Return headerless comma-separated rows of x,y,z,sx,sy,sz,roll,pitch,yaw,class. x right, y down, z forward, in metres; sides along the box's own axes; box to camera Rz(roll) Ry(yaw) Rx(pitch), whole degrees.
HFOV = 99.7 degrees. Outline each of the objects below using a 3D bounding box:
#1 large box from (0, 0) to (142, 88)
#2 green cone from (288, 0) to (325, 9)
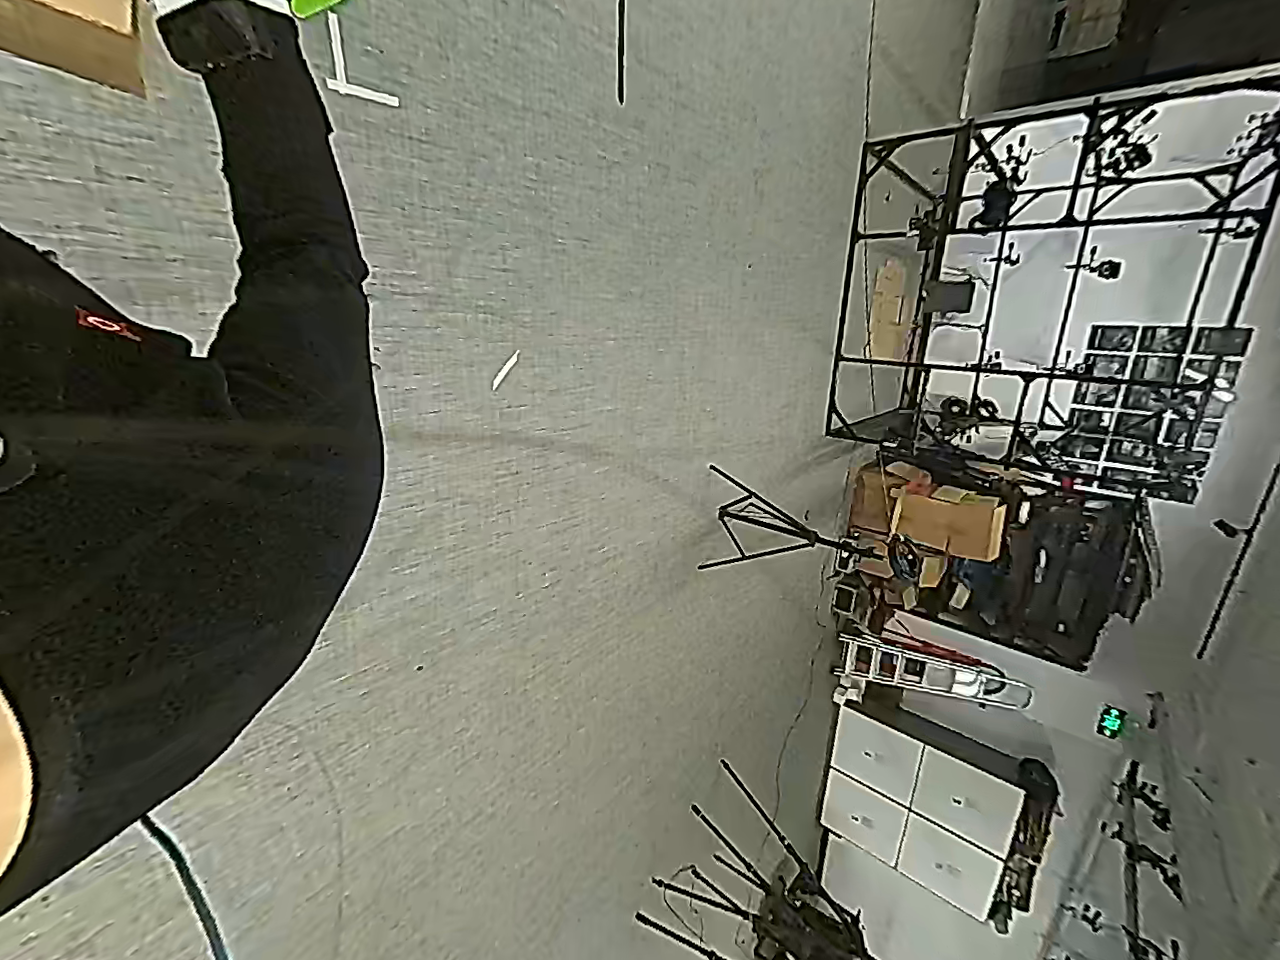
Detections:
-0.527,-0.473,0.266,0.408,0.320,0.320,-1,112,-43,large box
-0.600,-1.117,1.052,0.202,0.368,0.200,-56,140,-25,green cone
